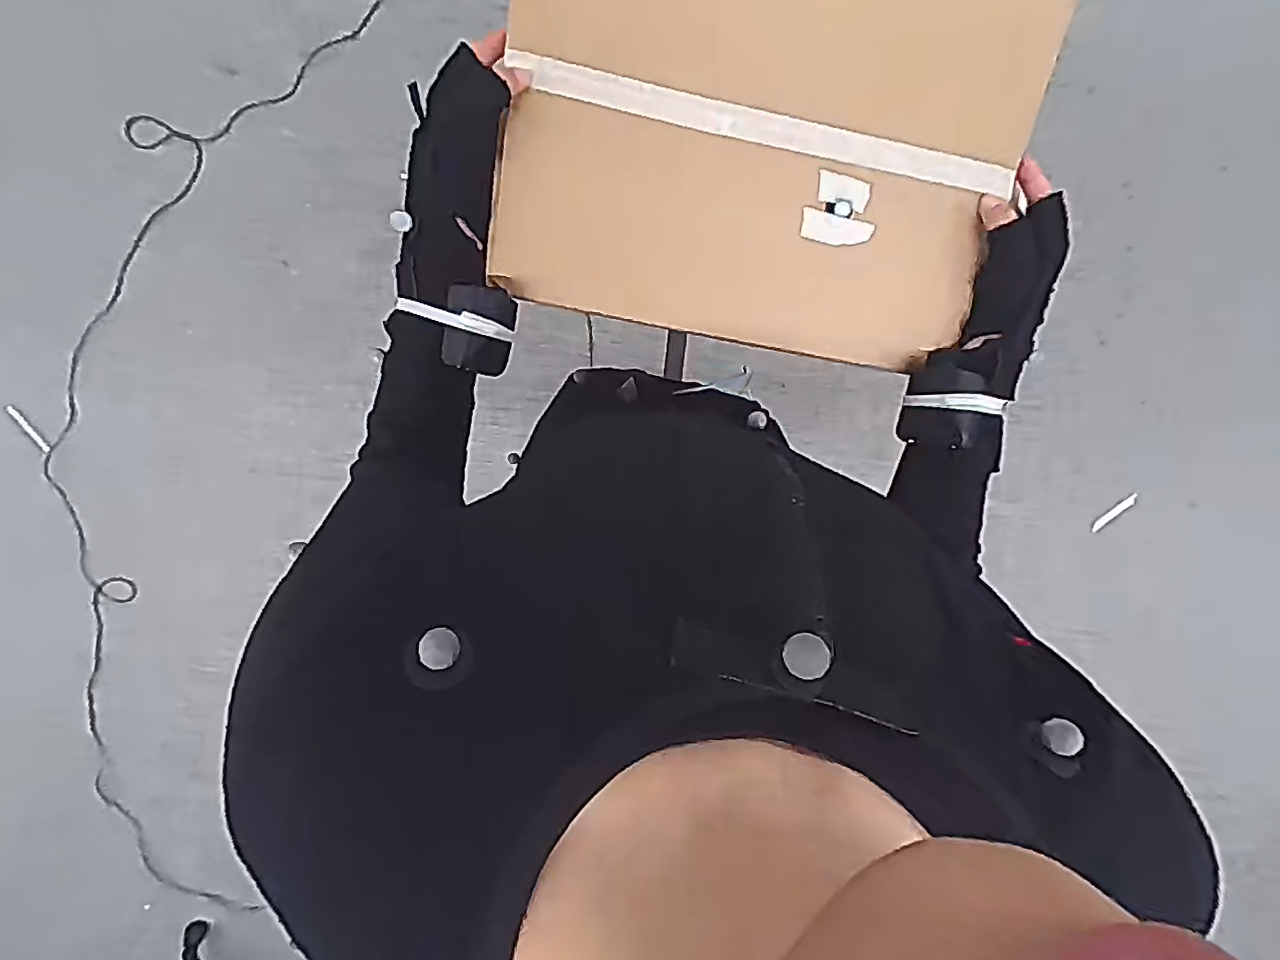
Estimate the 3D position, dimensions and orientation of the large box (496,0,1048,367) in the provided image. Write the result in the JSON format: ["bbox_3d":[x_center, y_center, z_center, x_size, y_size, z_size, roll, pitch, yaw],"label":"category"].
[{"bbox_3d":[0.084,-0.316,0.569,0.408,0.320,0.320,8,108,-7],"label":"large box"}]
